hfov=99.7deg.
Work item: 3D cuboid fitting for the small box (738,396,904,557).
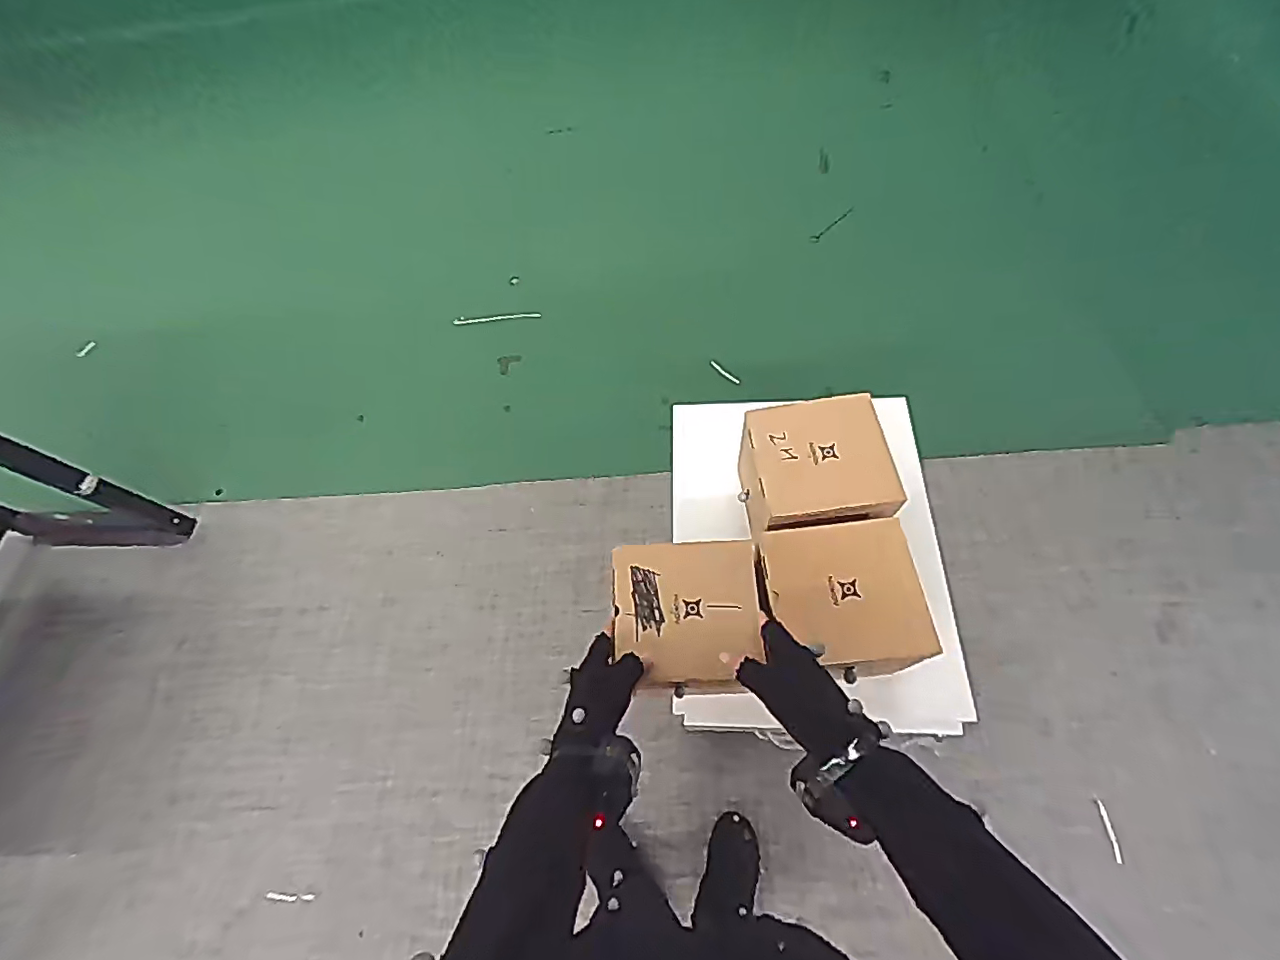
[{"bbox_3d":[0.245,0.002,0.782,0.179,0.176,0.168,-8,63,3],"label":"small box"}]
